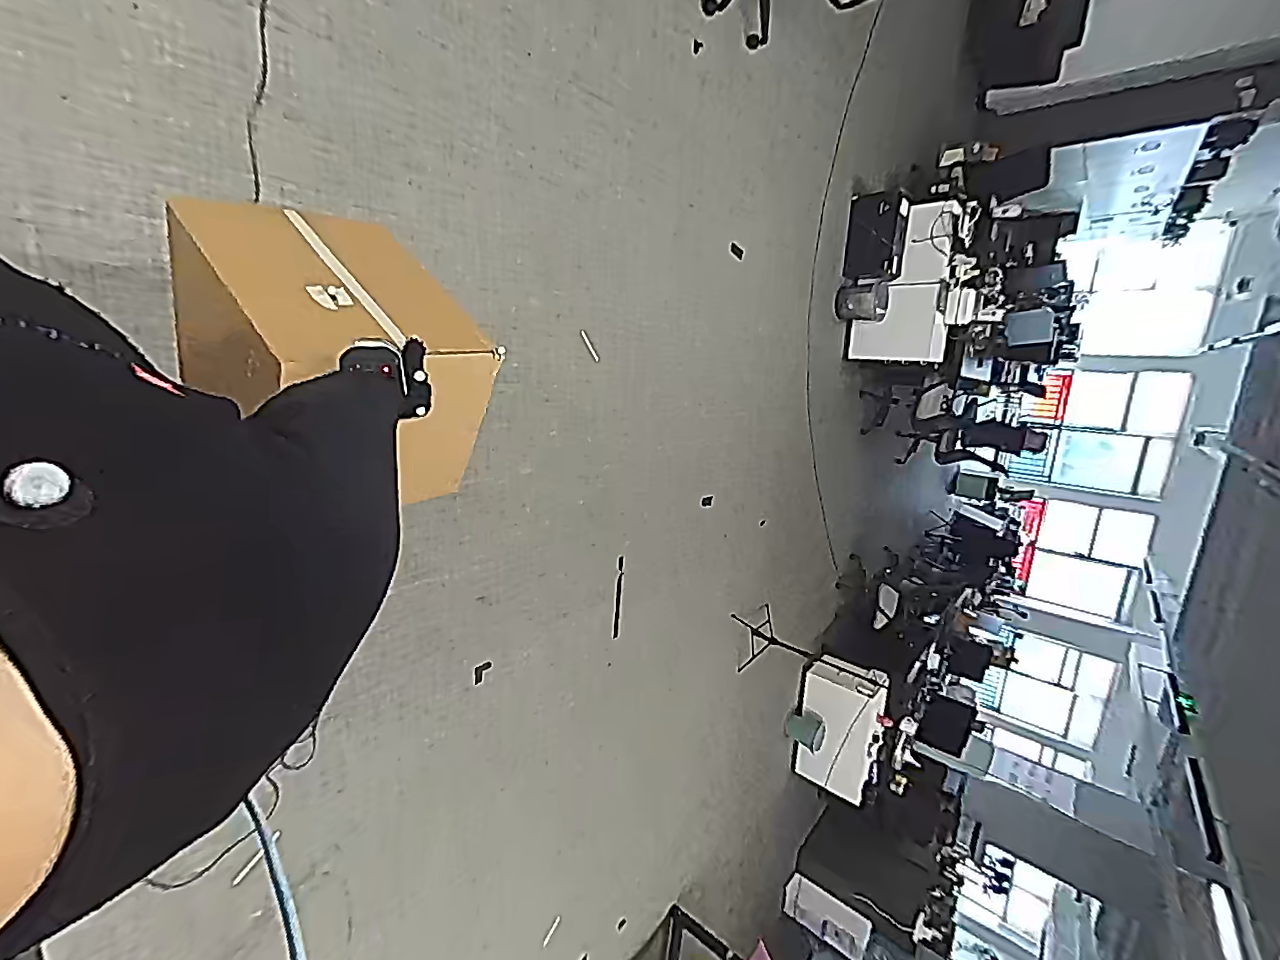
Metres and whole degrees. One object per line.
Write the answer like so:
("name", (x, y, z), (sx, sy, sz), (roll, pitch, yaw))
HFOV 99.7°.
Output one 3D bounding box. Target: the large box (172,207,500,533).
("large box", (-0.513, -0.186, 0.904), (0.320, 0.408, 0.320), (-20, 150, -48))
